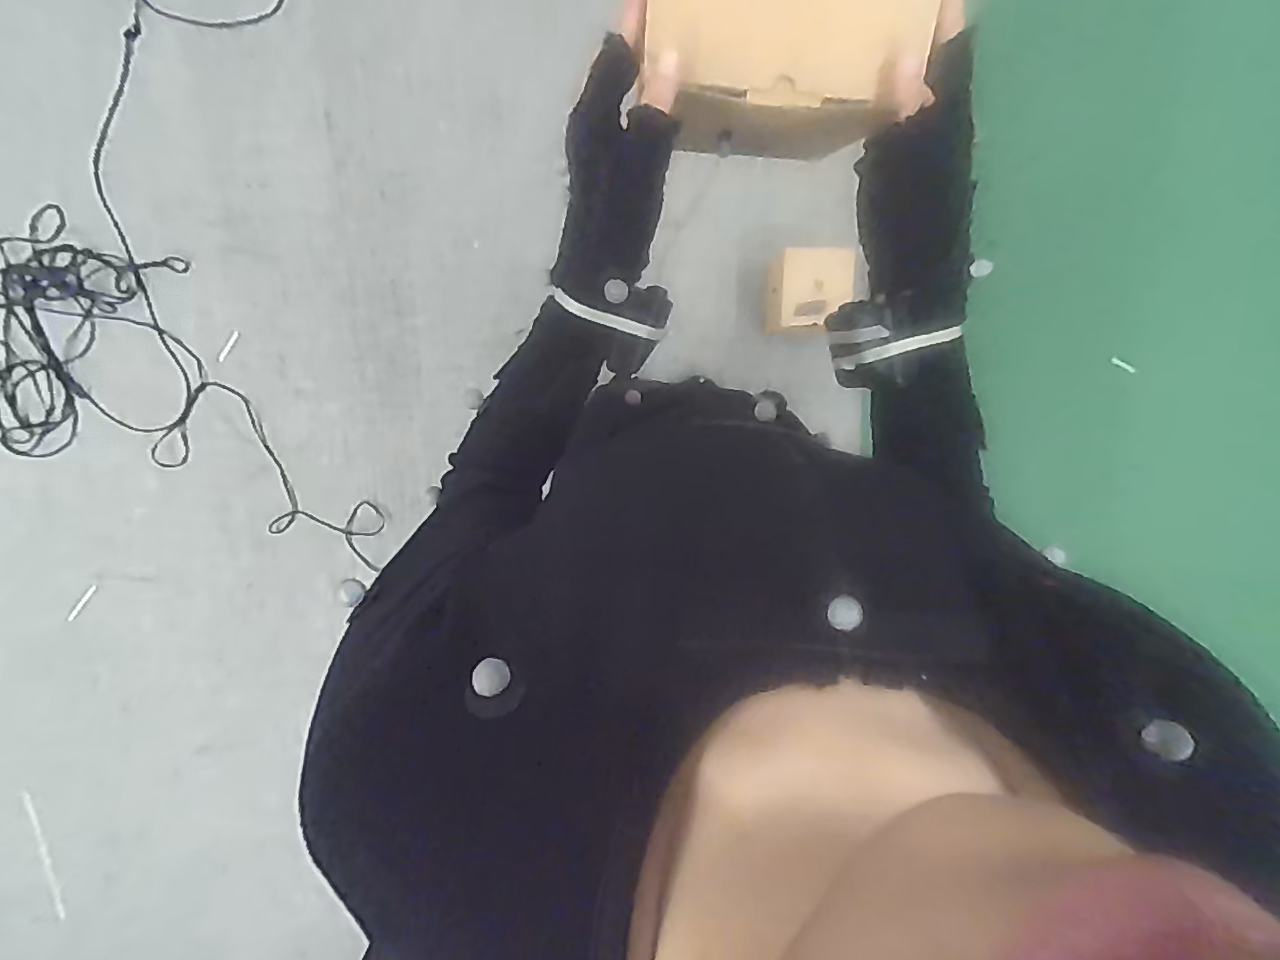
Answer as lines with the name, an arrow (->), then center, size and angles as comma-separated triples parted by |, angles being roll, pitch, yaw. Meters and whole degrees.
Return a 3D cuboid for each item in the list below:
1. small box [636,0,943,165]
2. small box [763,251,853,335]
small box -> 0.085, -0.330, 0.360 | 0.168, 0.176, 0.179 | 2, 111, -3
small box -> 0.401, -0.449, 1.320 | 0.168, 0.176, 0.179 | 0, 100, -1
